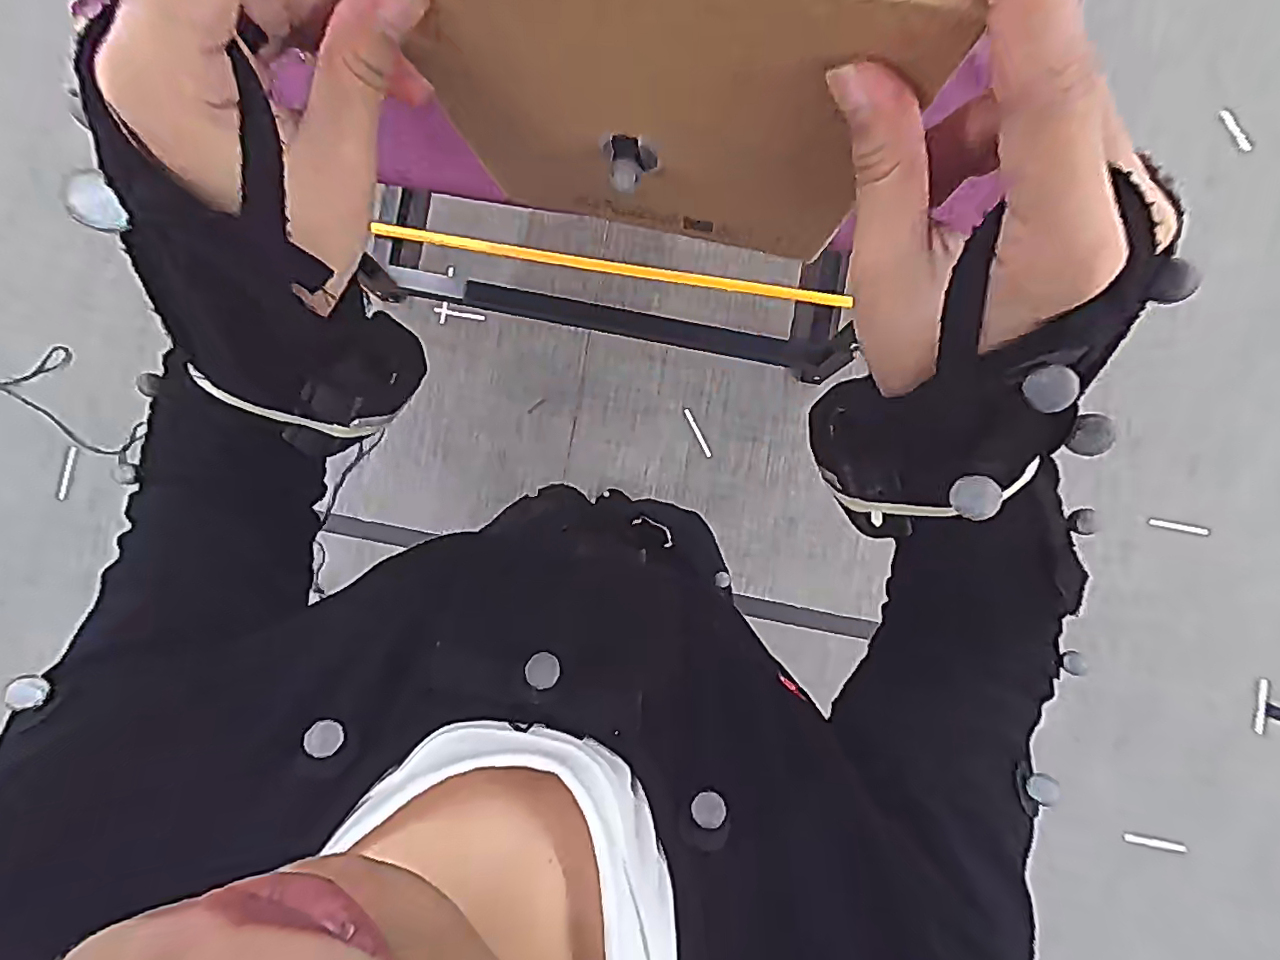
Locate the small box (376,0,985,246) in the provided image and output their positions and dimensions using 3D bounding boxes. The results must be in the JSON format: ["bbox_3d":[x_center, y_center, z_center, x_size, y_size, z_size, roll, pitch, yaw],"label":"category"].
[{"bbox_3d":[0.022,-0.205,0.185,0.168,0.176,0.179,14,95,3],"label":"small box"}]
